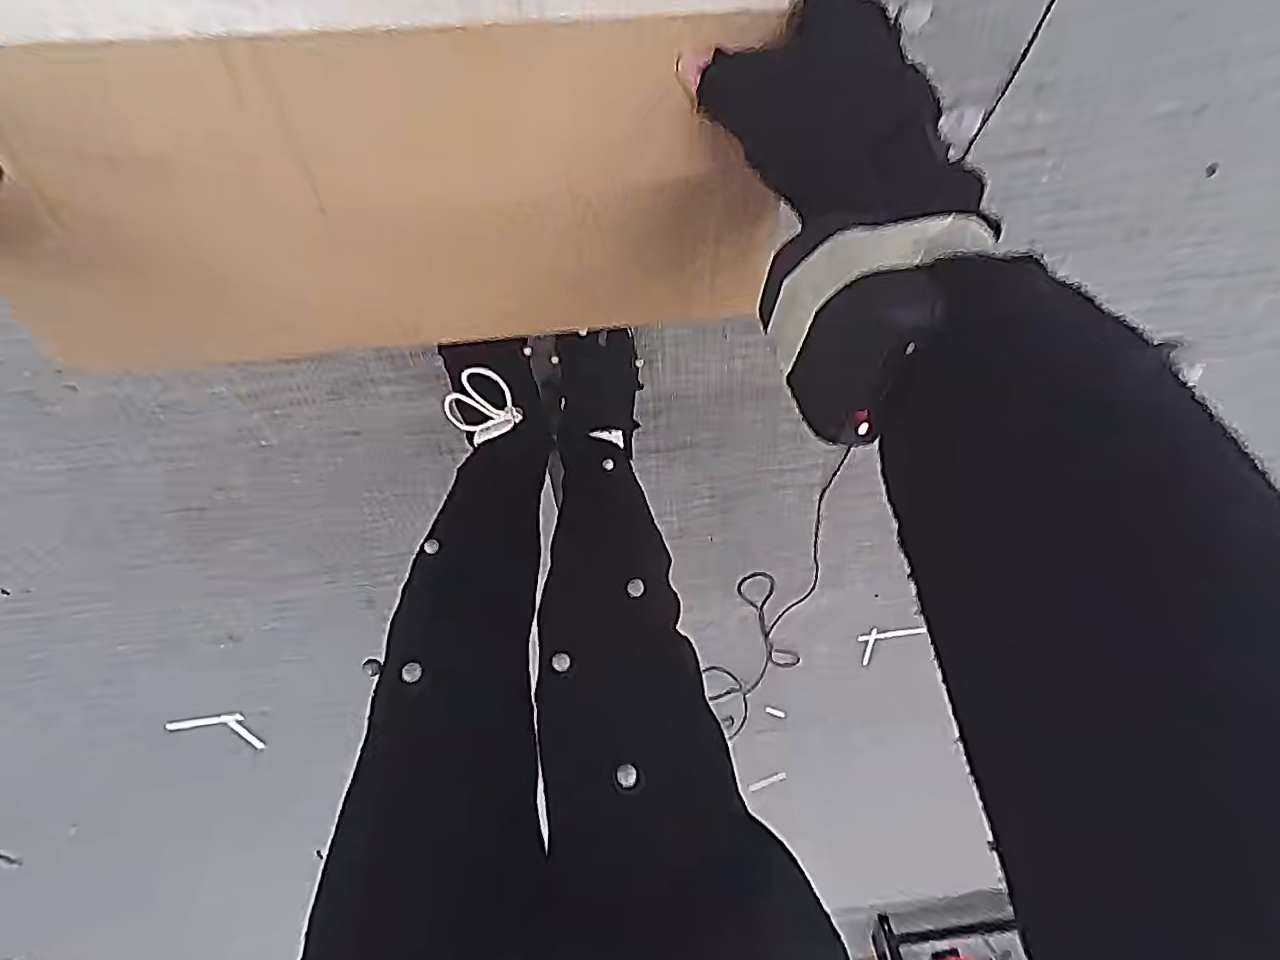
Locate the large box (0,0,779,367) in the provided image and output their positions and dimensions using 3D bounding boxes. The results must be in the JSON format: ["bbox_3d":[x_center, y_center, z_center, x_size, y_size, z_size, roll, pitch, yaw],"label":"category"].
[{"bbox_3d":[-0.150,-0.303,0.344,0.408,0.320,0.320,-7,132,-6],"label":"large box"}]
